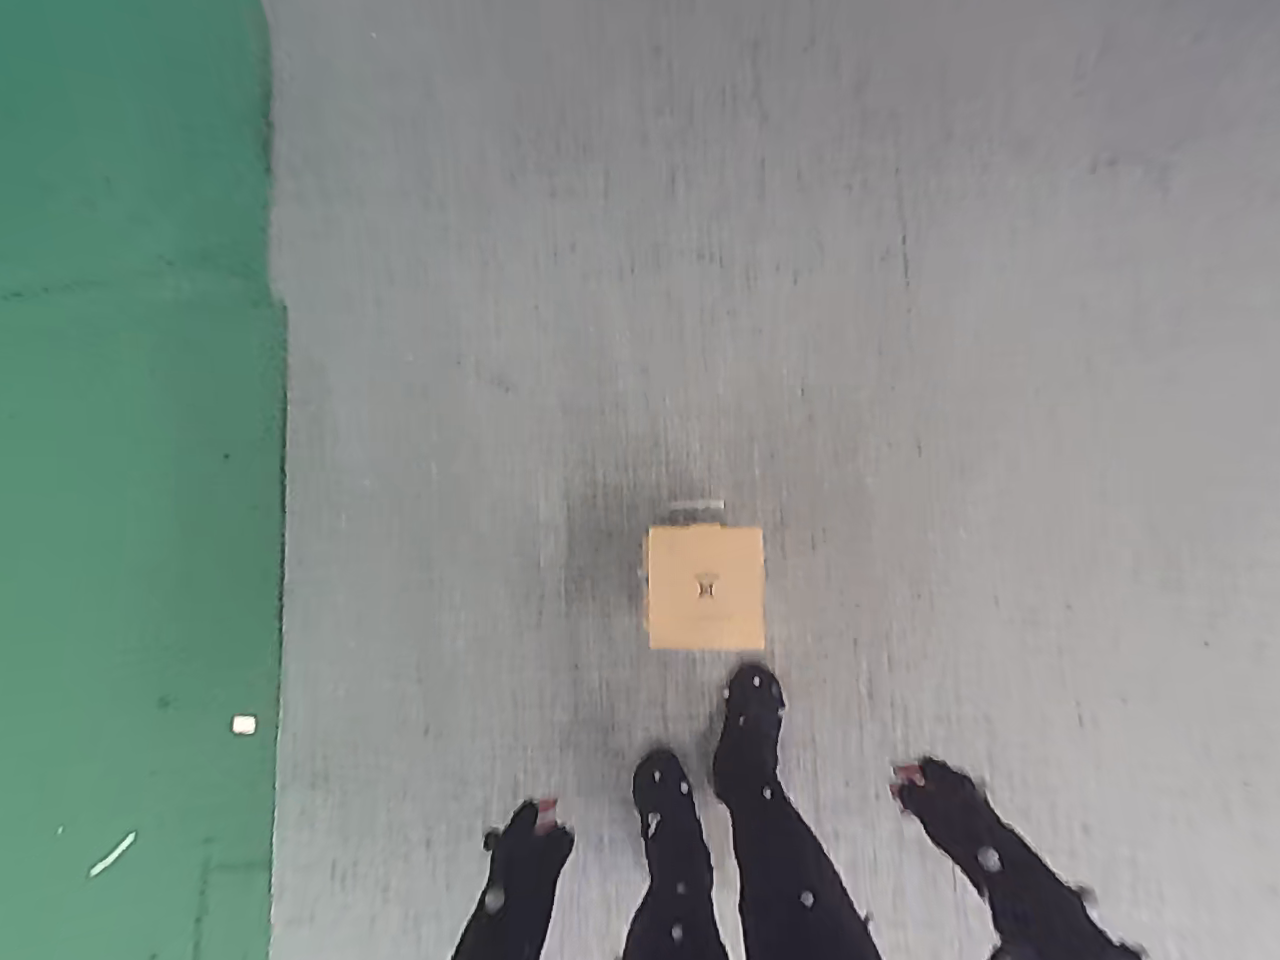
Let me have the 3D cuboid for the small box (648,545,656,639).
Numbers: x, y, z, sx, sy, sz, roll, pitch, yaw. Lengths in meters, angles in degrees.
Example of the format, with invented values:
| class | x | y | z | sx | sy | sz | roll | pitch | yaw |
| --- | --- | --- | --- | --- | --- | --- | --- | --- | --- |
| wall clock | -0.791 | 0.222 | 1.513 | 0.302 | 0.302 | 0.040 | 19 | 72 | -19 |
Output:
| class | x | y | z | sx | sy | sz | roll | pitch | yaw |
| --- | --- | --- | --- | --- | --- | --- | --- | --- | --- |
| small box | 0.106 | 0.203 | 1.019 | 0.179 | 0.176 | 0.168 | -1 | 83 | 5 |

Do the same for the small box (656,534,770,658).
| class | x | y | z | sx | sy | sz | roll | pitch | yaw |
| --- | --- | --- | --- | --- | --- | --- | --- | --- | --- |
| small box | 0.110 | 0.176 | 0.860 | 0.168 | 0.176 | 0.179 | -2 | 84 | 5 |
